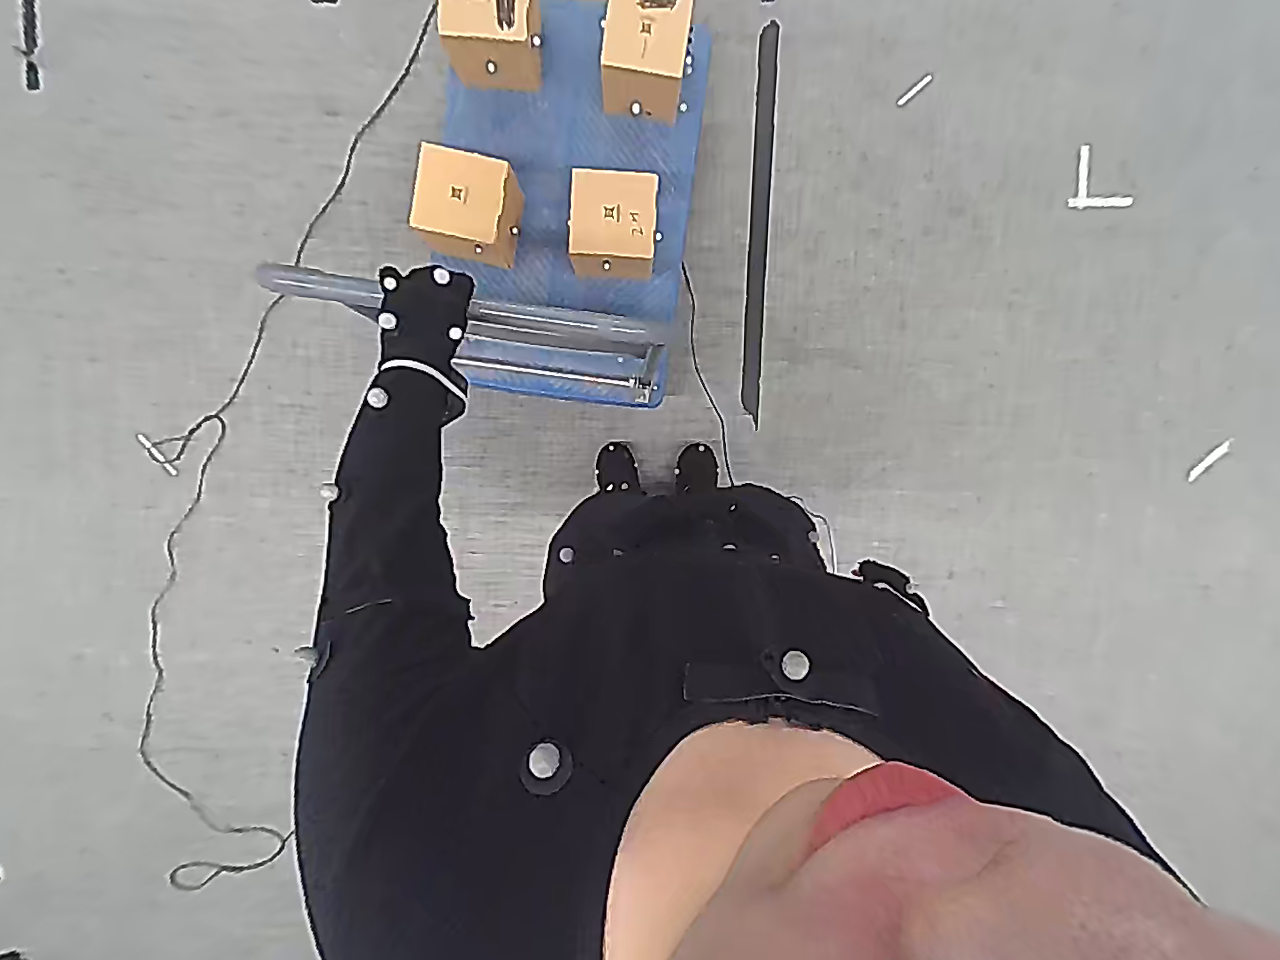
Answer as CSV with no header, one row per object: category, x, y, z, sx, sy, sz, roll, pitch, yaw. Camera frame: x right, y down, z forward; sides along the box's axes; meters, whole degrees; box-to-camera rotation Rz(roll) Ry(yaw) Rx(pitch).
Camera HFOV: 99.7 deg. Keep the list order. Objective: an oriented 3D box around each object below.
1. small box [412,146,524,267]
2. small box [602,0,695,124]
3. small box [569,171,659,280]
small box,-0.360,-0.573,1.158,0.179,0.176,0.168,10,95,-4
small box,0.014,-0.893,1.133,0.168,0.176,0.179,8,97,-2
small box,-0.053,-0.539,1.168,0.179,0.176,0.168,3,96,-1
